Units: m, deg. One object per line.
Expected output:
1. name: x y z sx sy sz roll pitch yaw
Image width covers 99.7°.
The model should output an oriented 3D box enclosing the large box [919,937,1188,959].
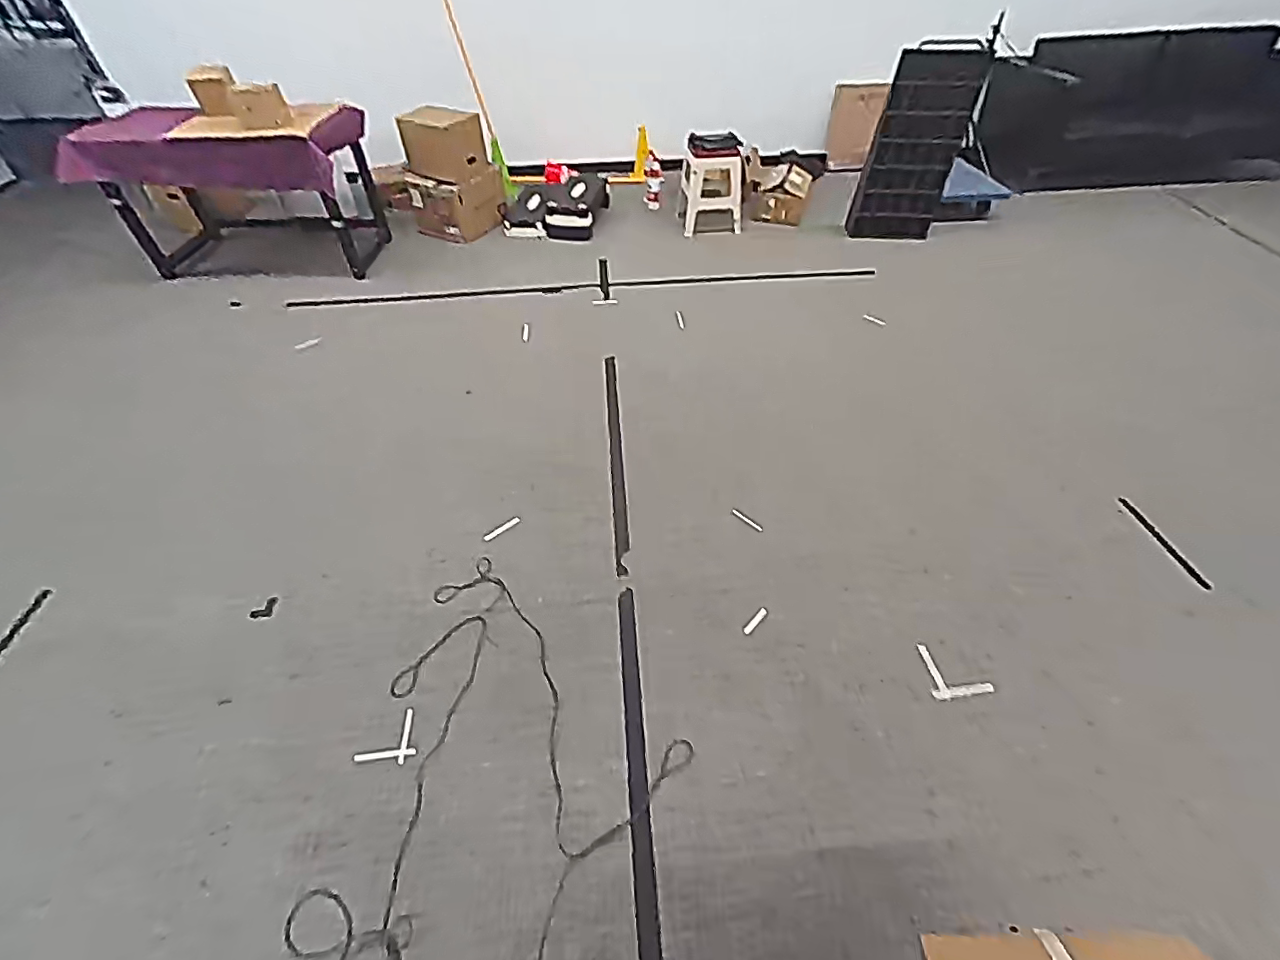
1. large box: 0.514 0.765 0.520 0.320 0.320 0.408 -8 4 9
